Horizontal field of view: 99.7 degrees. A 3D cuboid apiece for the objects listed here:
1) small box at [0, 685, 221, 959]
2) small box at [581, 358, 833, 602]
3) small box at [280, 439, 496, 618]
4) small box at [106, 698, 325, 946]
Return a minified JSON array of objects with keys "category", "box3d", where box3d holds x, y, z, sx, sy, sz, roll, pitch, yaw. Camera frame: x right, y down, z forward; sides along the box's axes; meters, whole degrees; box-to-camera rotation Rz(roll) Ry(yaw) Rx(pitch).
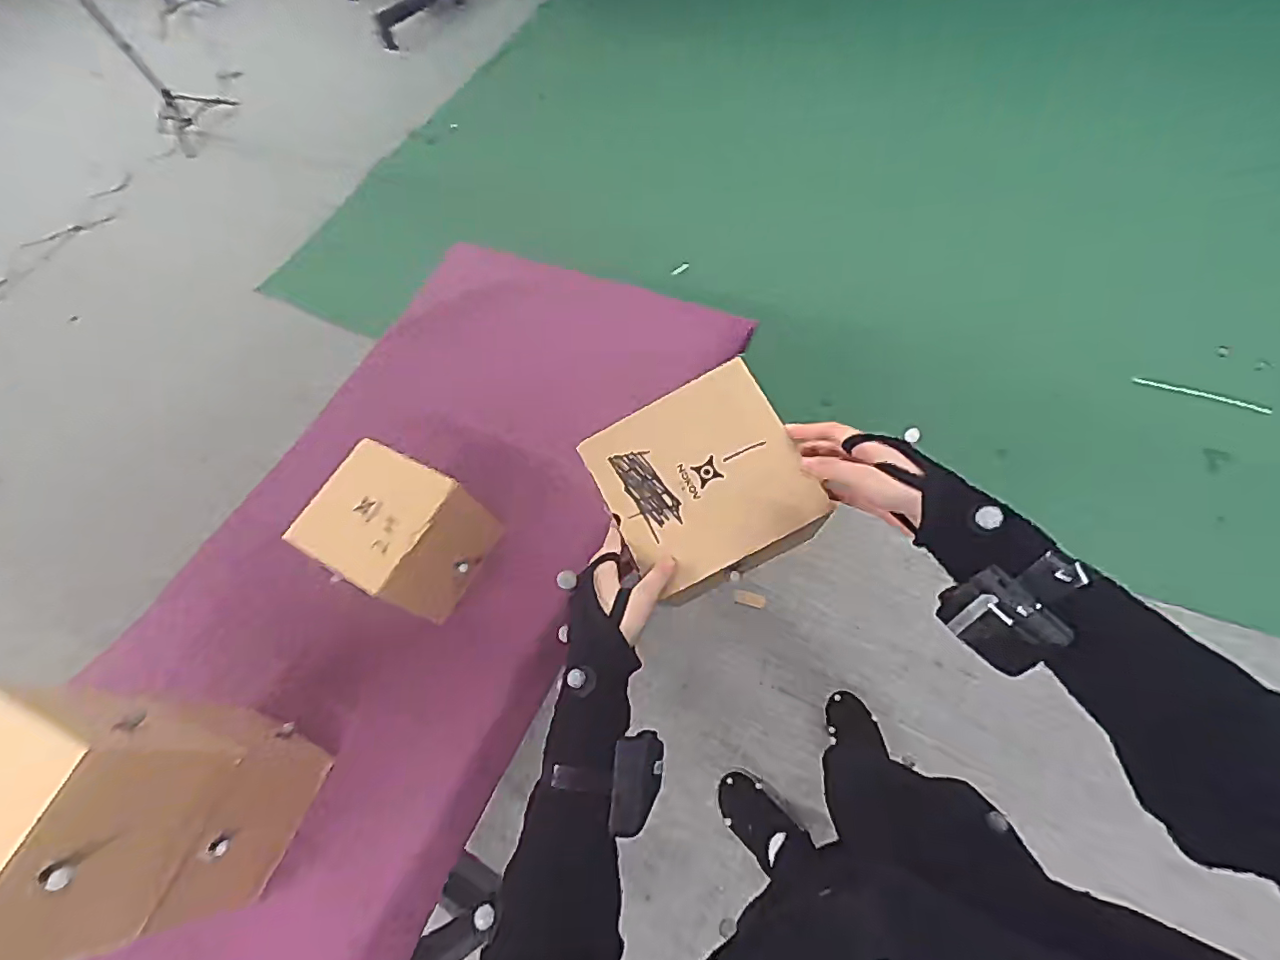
[{"category":"small box","box3d":[-0.539,0.304,0.492,0.168,0.176,0.179,15,67,16]},{"category":"small box","box3d":[0.068,0.015,0.551,0.179,0.176,0.168,-27,72,3]},{"category":"small box","box3d":[-0.339,0.075,0.760,0.179,0.176,0.168,23,69,20]},{"category":"small box","box3d":[-0.521,0.381,0.633,0.168,0.176,0.179,17,67,17]}]
